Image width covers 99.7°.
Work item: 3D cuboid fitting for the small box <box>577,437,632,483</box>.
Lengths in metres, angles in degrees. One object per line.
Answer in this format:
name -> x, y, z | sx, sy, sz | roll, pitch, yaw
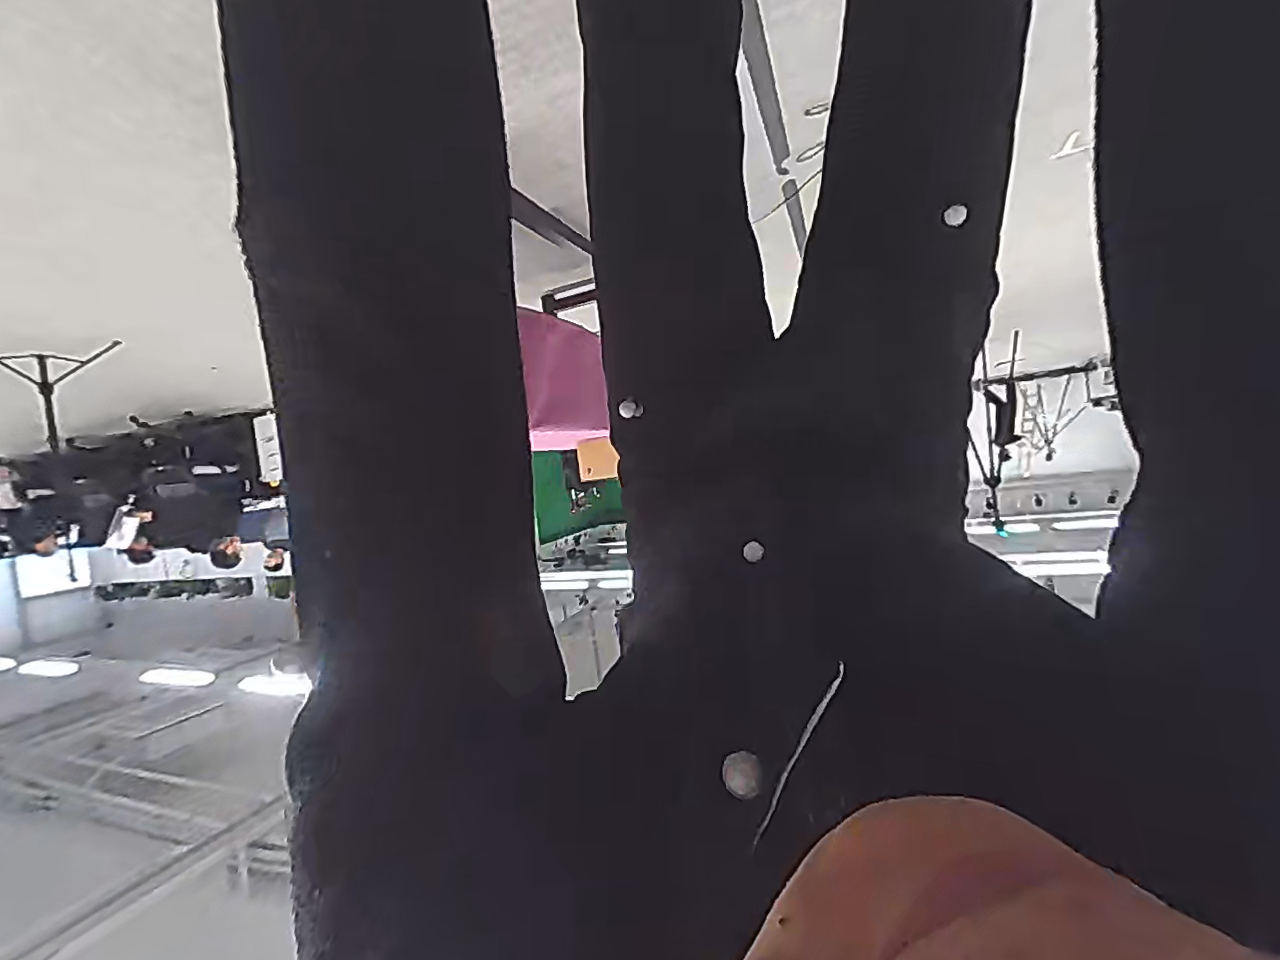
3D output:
small box -> -0.151, -0.085, 2.279 | 0.179, 0.176, 0.168 | -7, -178, 26
